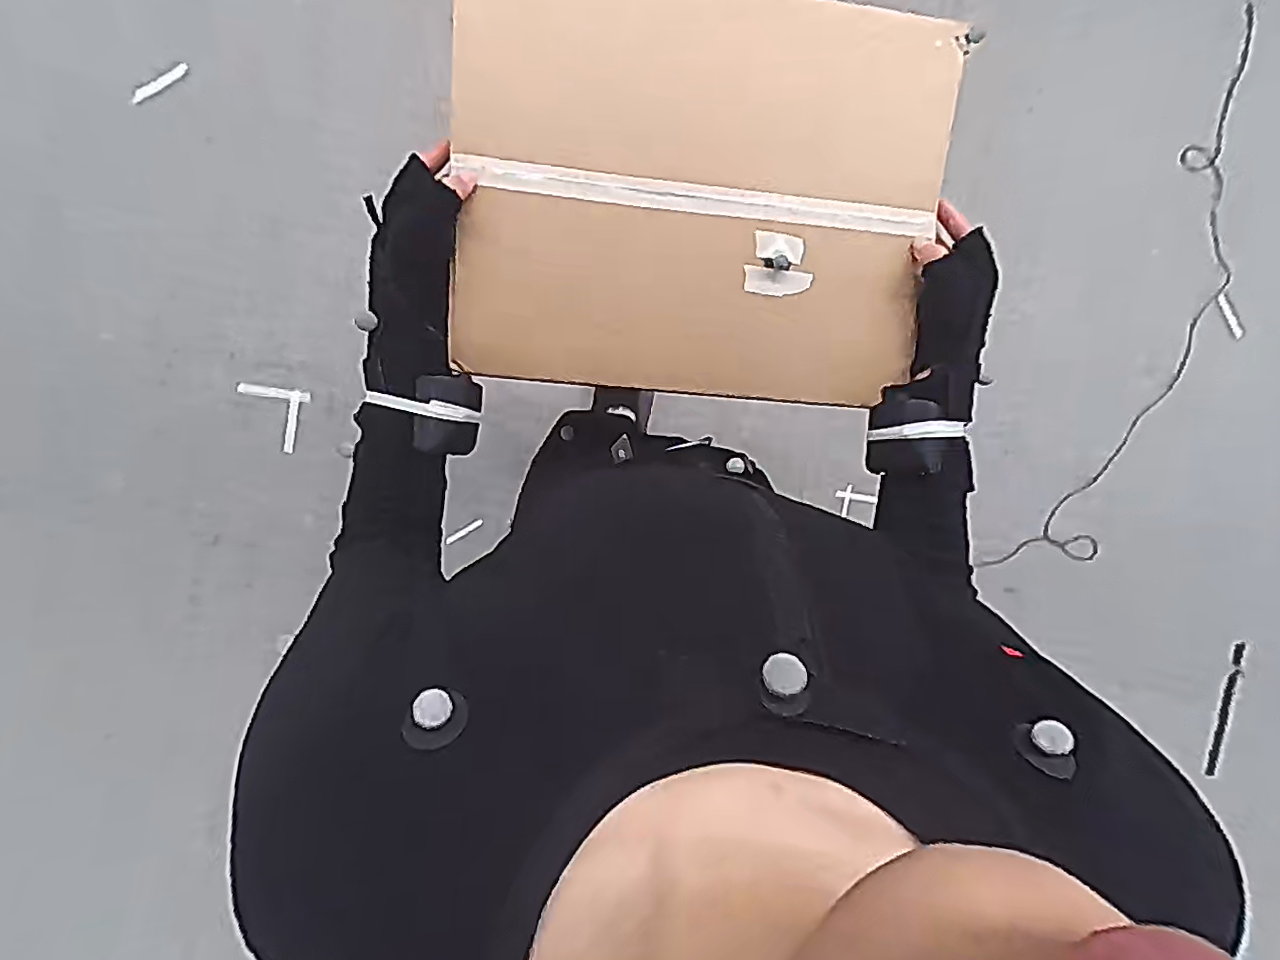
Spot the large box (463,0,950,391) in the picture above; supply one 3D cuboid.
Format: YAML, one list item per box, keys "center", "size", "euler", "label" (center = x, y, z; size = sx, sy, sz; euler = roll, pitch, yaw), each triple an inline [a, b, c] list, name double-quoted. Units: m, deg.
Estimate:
- center: [0.037, -0.272, 0.601]
  size: [0.408, 0.320, 0.320]
  euler: [4, 102, -7]
  label: "large box"
